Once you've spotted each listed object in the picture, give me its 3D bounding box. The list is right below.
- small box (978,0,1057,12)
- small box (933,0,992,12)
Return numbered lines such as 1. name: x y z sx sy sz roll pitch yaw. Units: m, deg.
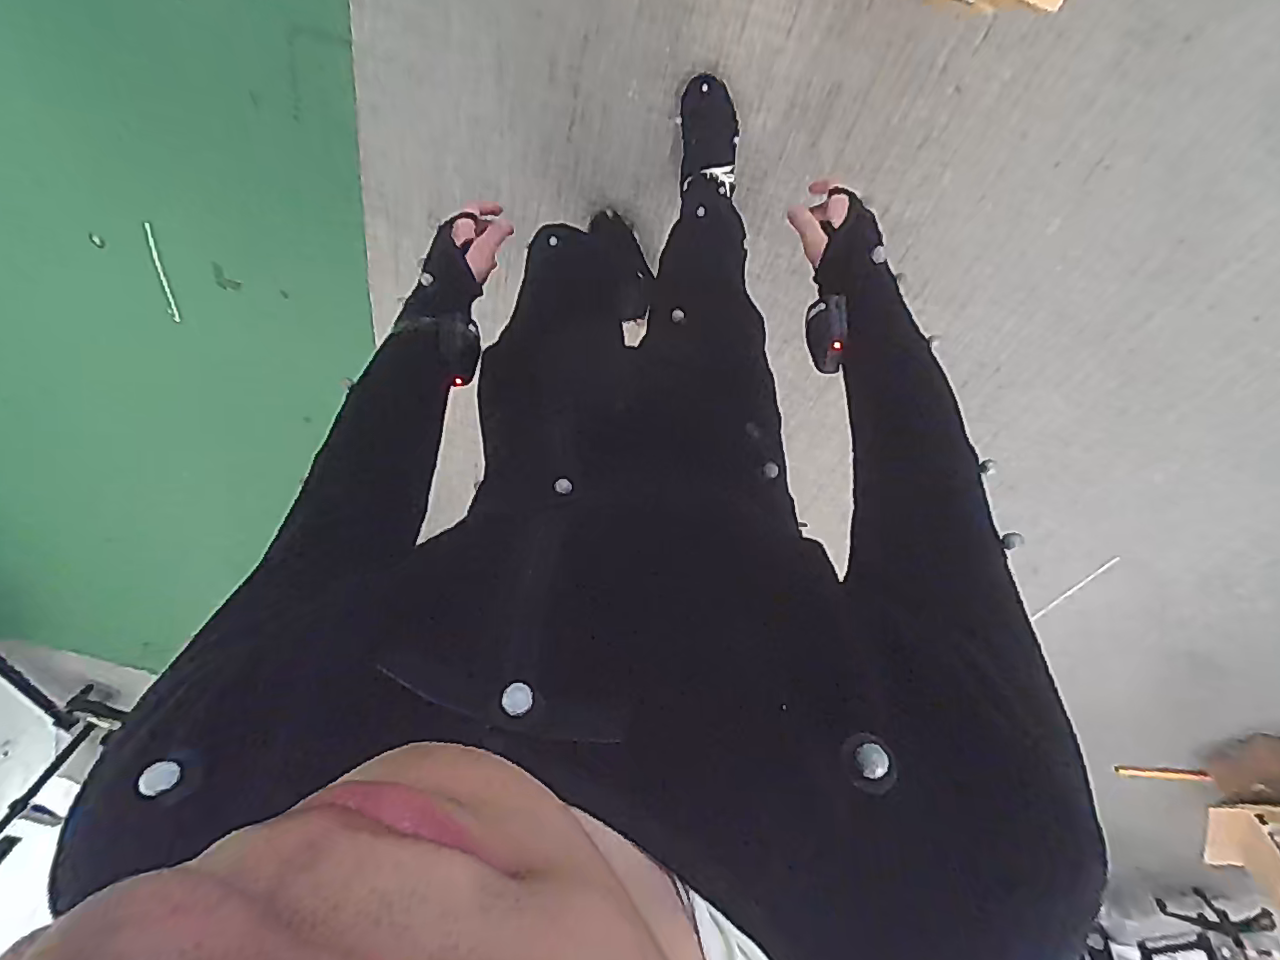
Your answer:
1. small box: 0.445 -0.696 0.645 0.179 0.176 0.168 18 131 -4
2. small box: 0.460 -0.804 0.767 0.168 0.176 0.179 19 131 -5
